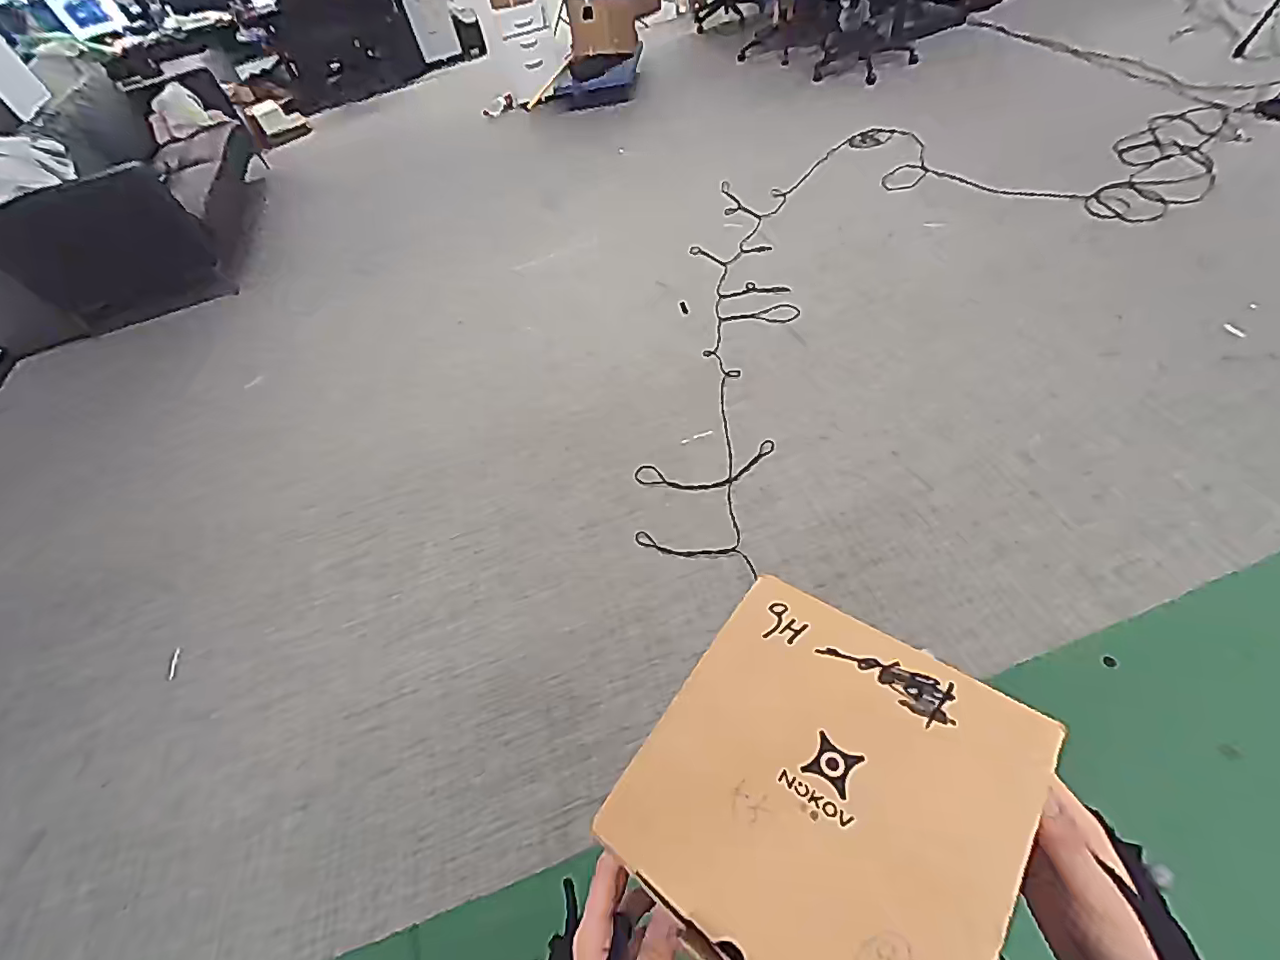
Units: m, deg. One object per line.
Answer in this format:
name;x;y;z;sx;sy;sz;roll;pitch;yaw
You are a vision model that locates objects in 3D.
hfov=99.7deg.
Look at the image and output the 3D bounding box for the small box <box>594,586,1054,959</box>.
small box;0.104;0.206;0.328;0.168;0.176;0.179;26;61;31
